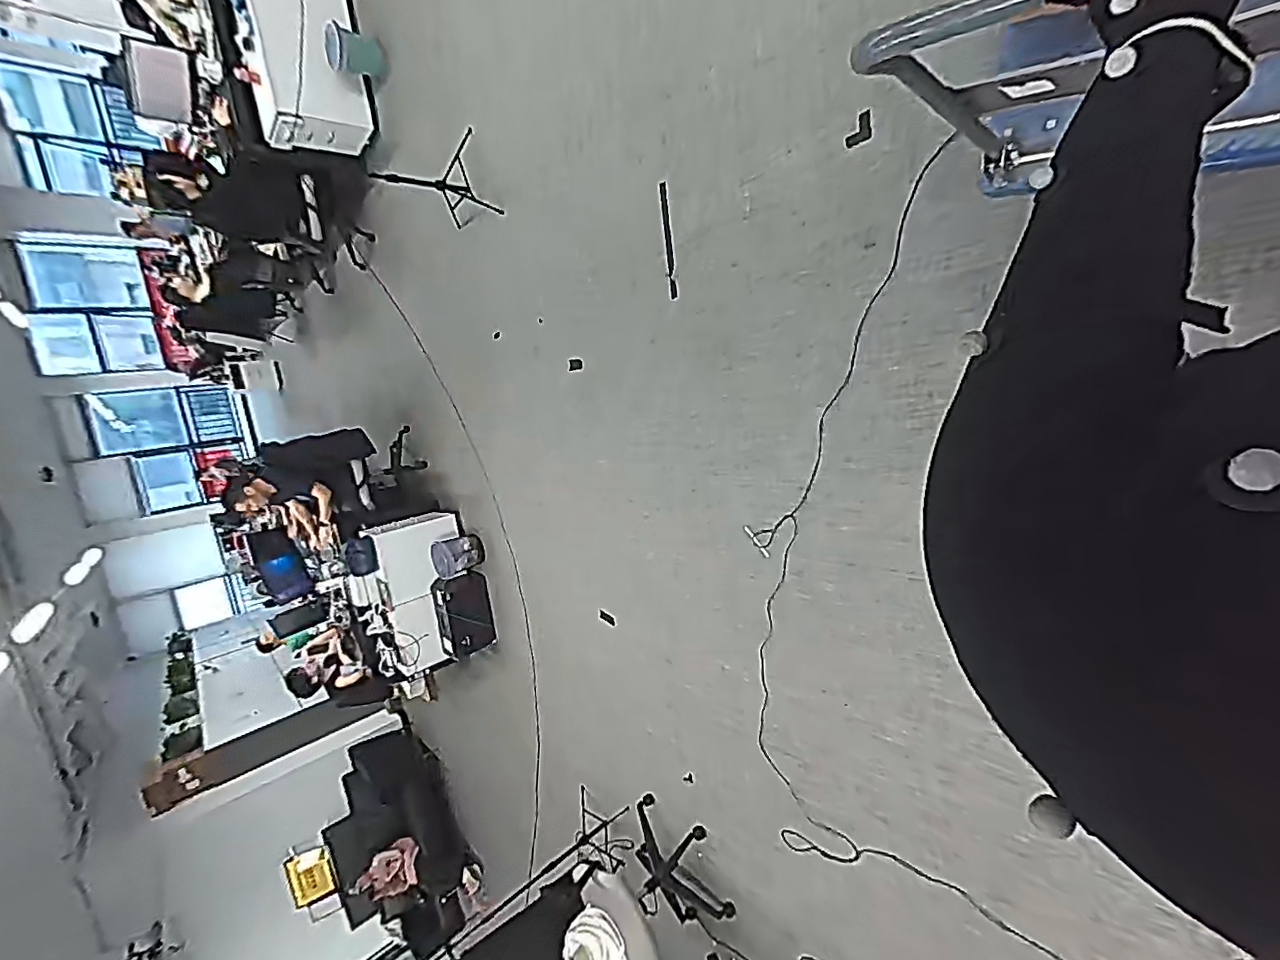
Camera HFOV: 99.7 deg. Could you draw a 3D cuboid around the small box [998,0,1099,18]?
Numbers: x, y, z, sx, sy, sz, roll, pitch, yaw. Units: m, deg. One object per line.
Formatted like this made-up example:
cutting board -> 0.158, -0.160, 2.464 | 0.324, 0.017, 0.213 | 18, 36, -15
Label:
small box -> 0.689, -0.885, 0.867 | 0.179, 0.176, 0.168 | 23, 118, 41
